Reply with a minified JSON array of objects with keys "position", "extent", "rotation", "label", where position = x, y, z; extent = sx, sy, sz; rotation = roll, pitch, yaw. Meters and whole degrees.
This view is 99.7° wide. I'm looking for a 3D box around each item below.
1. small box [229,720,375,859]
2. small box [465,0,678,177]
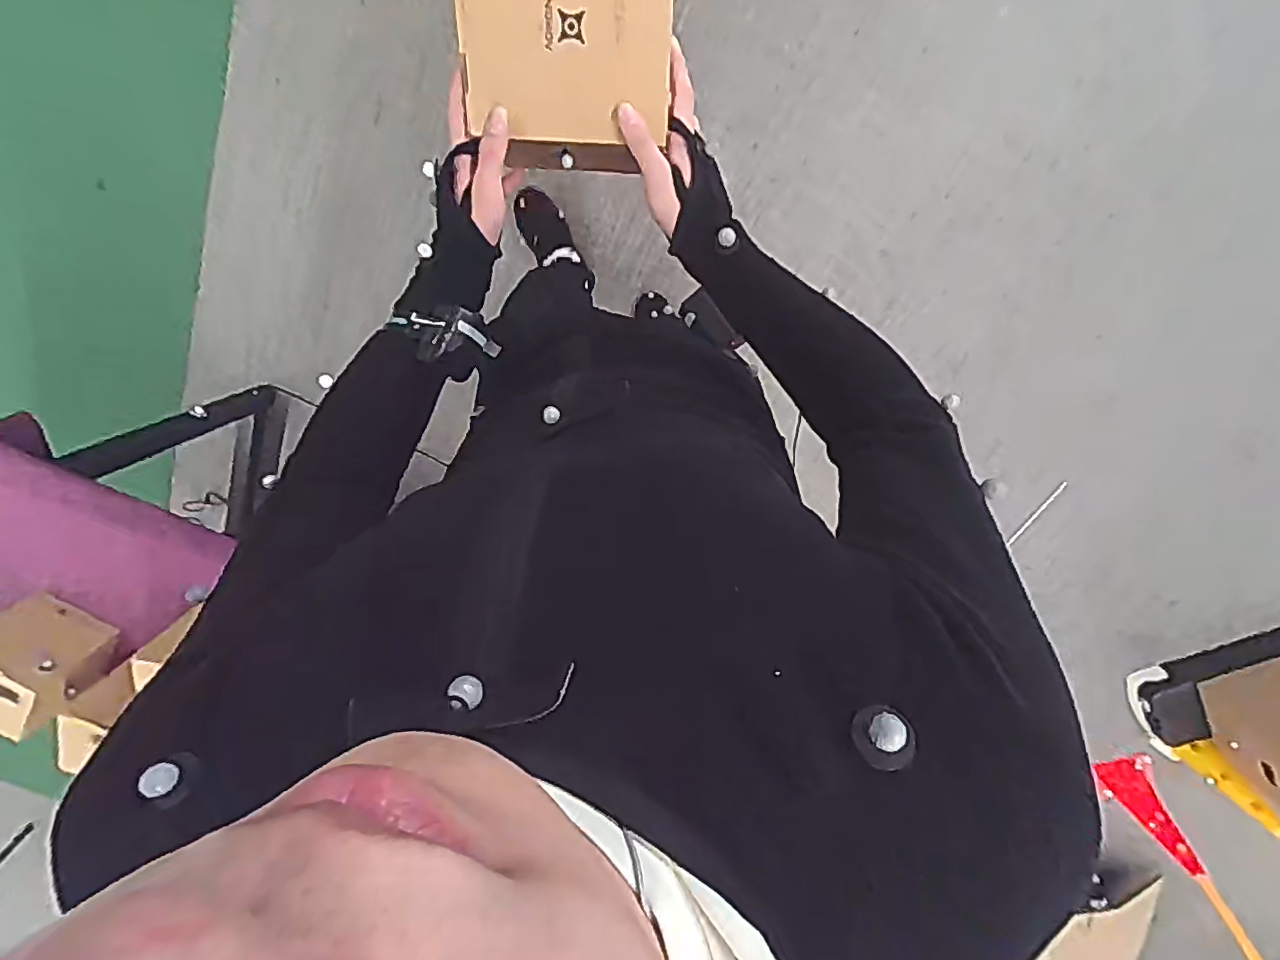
[{"position":[-0.707,0.645,1.146],"extent":[0.179,0.176,0.168],"rotation":[33,112,-10],"label":"small box"},{"position":[-0.059,-0.400,0.519],"extent":[0.179,0.176,0.168],"rotation":[2,111,-3],"label":"small box"}]
